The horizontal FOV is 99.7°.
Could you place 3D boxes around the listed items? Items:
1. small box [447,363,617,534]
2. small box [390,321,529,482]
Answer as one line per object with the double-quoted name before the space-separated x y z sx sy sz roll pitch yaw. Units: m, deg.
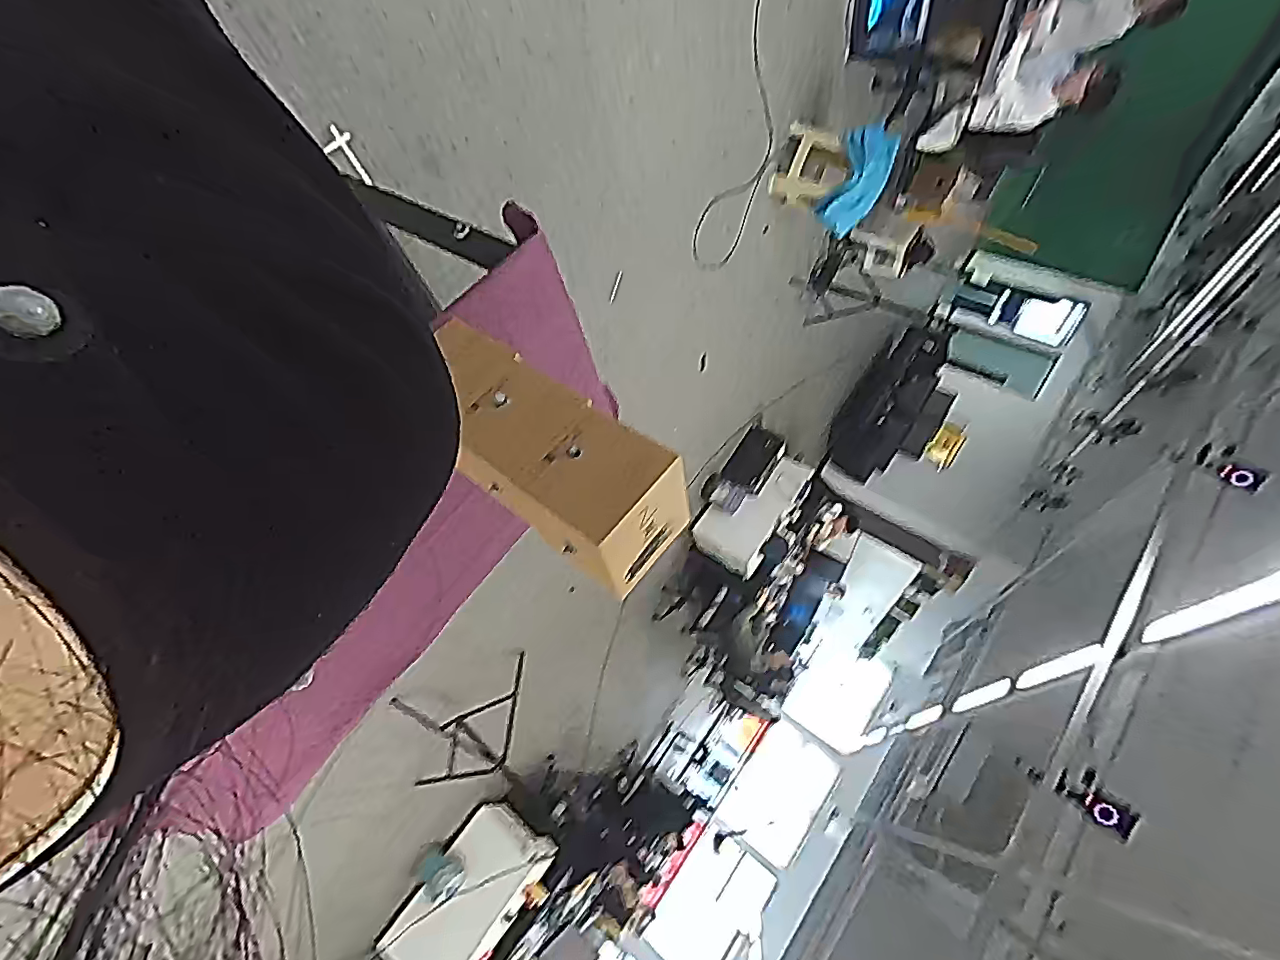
"small box" -0.164 -0.052 0.853 0.168 0.176 0.179 -49 152 -19
"small box" -0.290 -0.136 0.918 0.179 0.176 0.168 -49 153 -20
